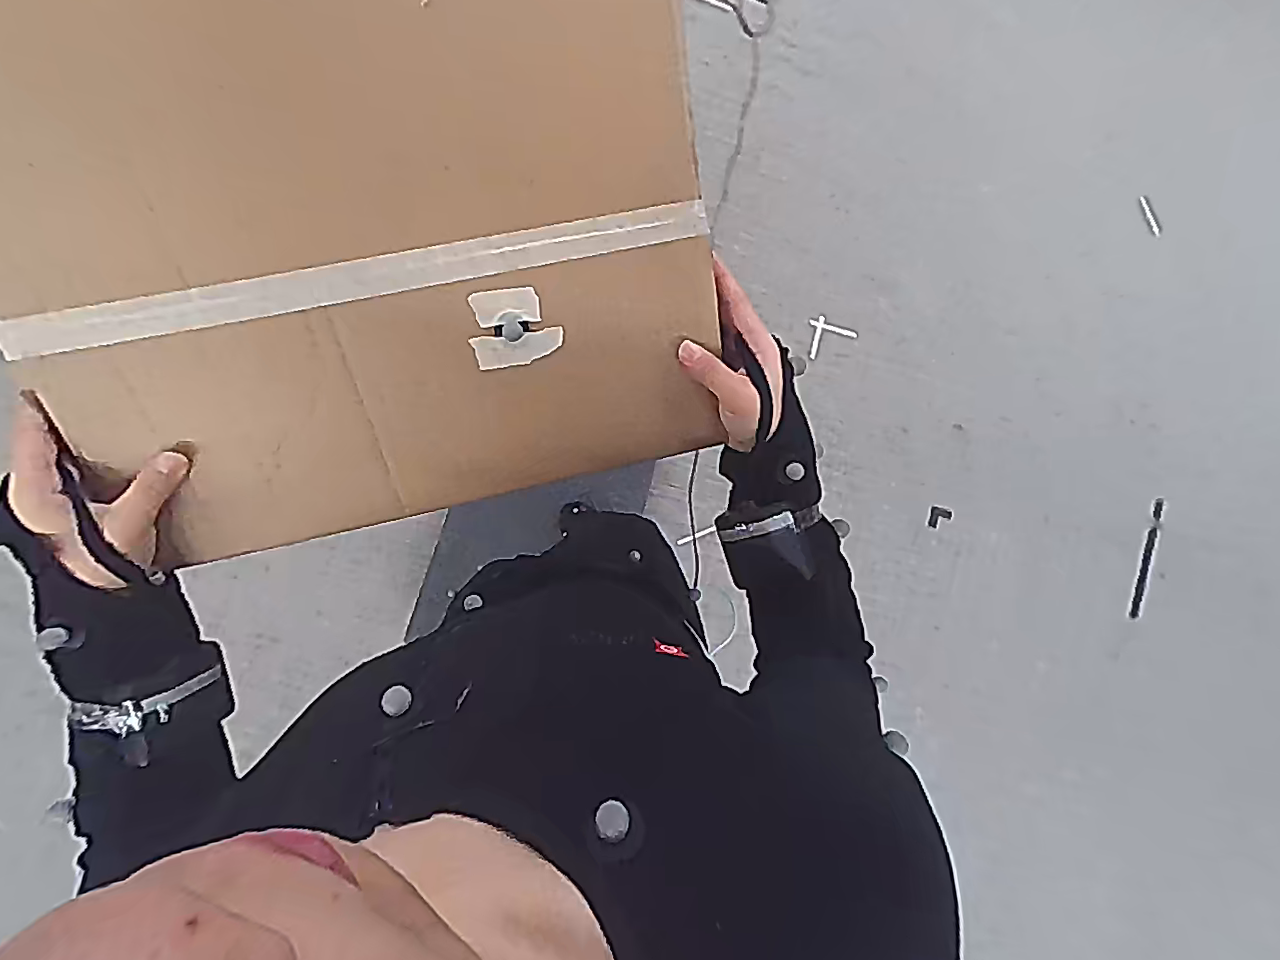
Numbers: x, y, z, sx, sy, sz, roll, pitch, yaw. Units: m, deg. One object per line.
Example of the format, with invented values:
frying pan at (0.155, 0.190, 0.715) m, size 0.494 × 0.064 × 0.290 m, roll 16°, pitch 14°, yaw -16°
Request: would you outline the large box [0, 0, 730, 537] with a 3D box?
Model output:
large box at (-0.176, -0.192, 0.467) m, size 0.408 × 0.320 × 0.320 m, roll -12°, pitch 114°, yaw -8°
